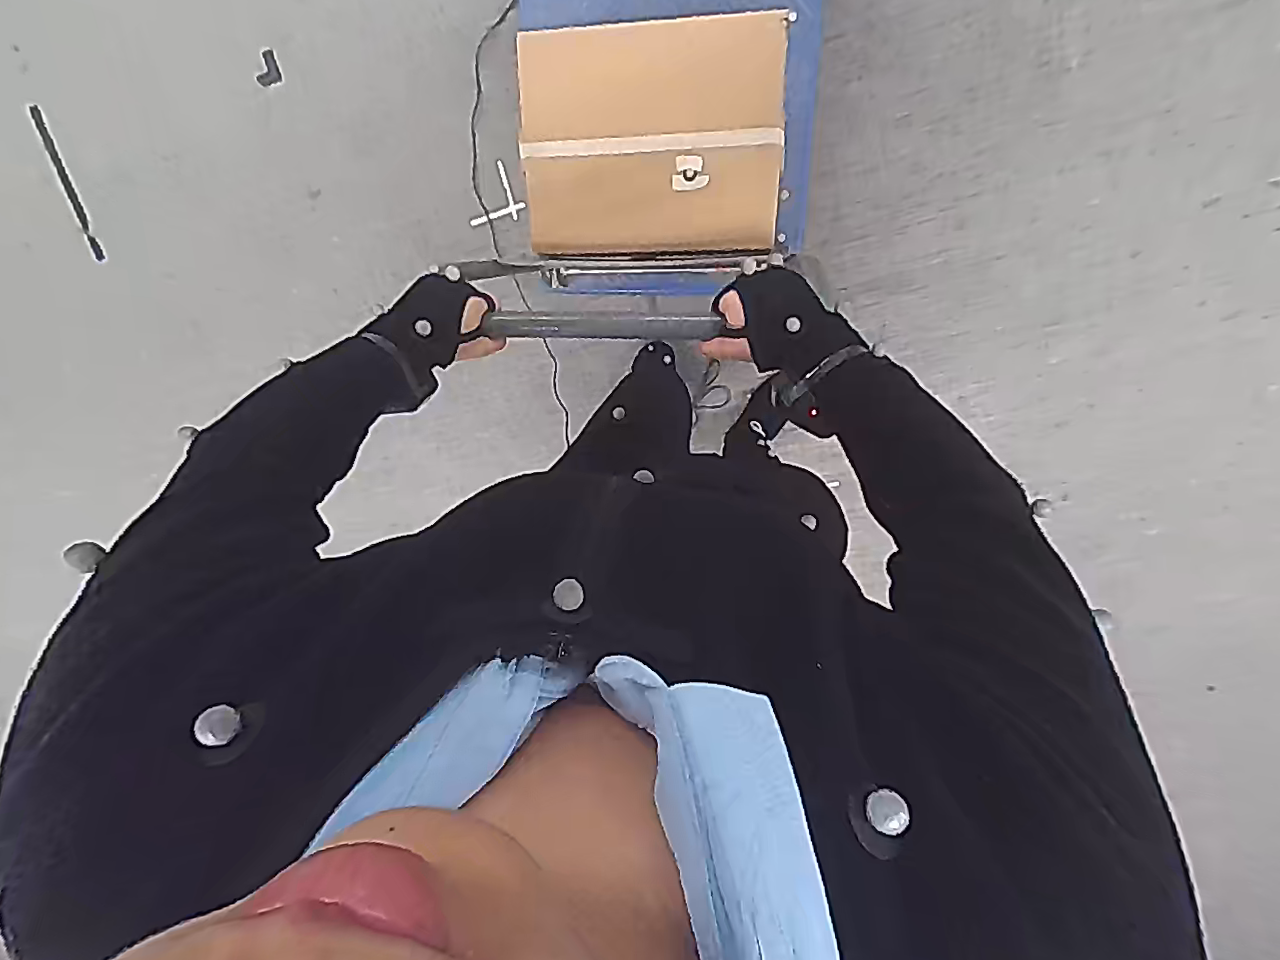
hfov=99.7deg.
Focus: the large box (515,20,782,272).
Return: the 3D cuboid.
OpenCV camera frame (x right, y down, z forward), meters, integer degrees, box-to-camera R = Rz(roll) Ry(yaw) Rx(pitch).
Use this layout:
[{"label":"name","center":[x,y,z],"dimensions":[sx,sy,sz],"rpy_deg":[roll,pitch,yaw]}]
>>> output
[{"label":"large box","center":[0.029,-0.555,0.978],"dimensions":[0.408,0.320,0.320],"rpy_deg":[1,110,8]}]
